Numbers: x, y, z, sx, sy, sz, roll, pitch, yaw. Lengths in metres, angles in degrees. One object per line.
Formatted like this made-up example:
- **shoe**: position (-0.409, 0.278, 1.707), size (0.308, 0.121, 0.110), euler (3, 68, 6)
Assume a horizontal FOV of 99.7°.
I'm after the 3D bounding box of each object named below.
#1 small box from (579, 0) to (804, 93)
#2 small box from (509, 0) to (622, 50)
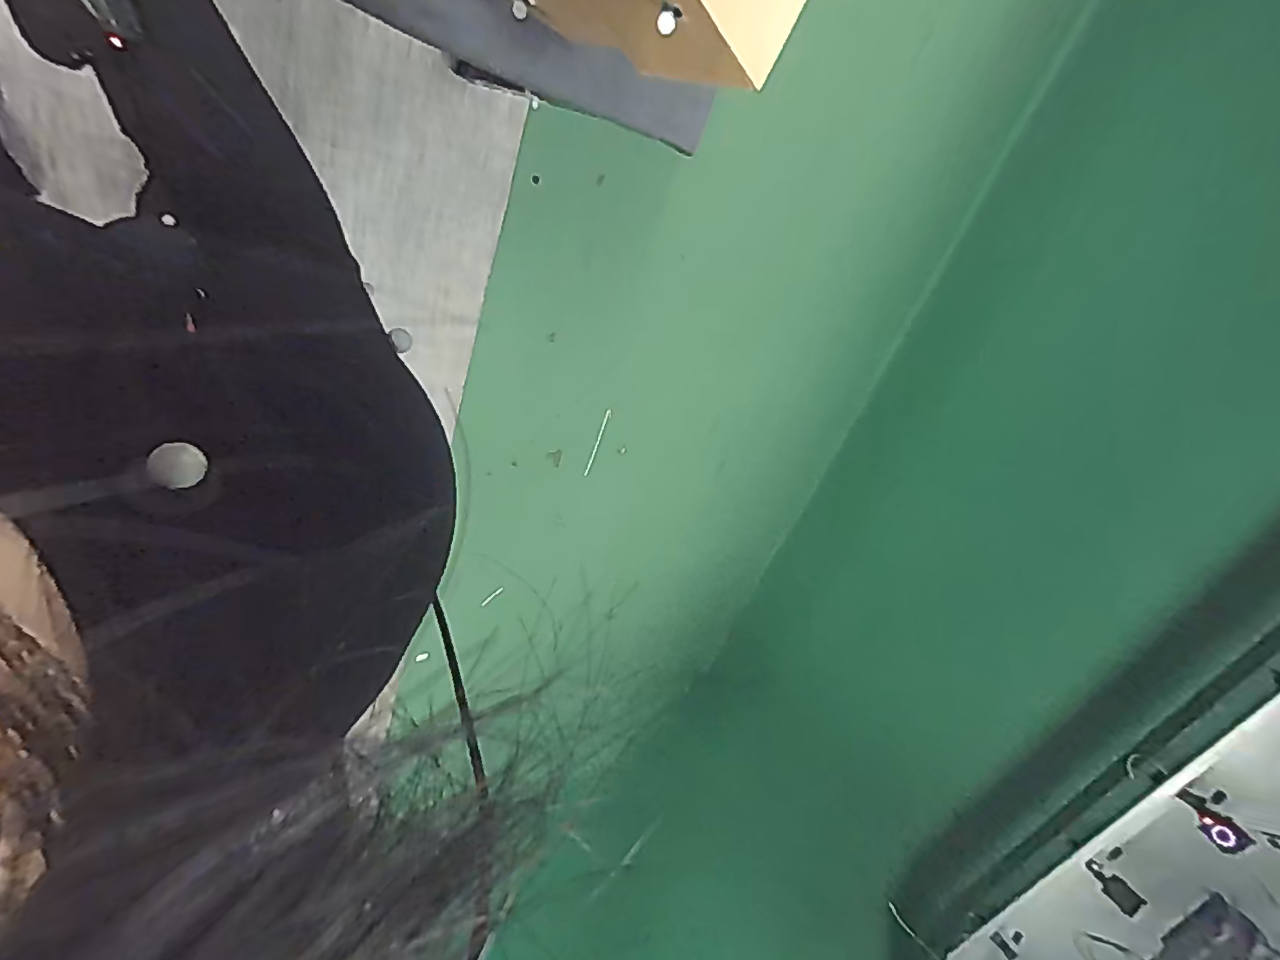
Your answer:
- **small box**: position (0.040, -0.470, 0.448), size (0.179, 0.176, 0.168), euler (11, 114, -51)
- **small box**: position (-0.058, -0.568, 0.532), size (0.168, 0.176, 0.179), euler (-4, 125, -46)
